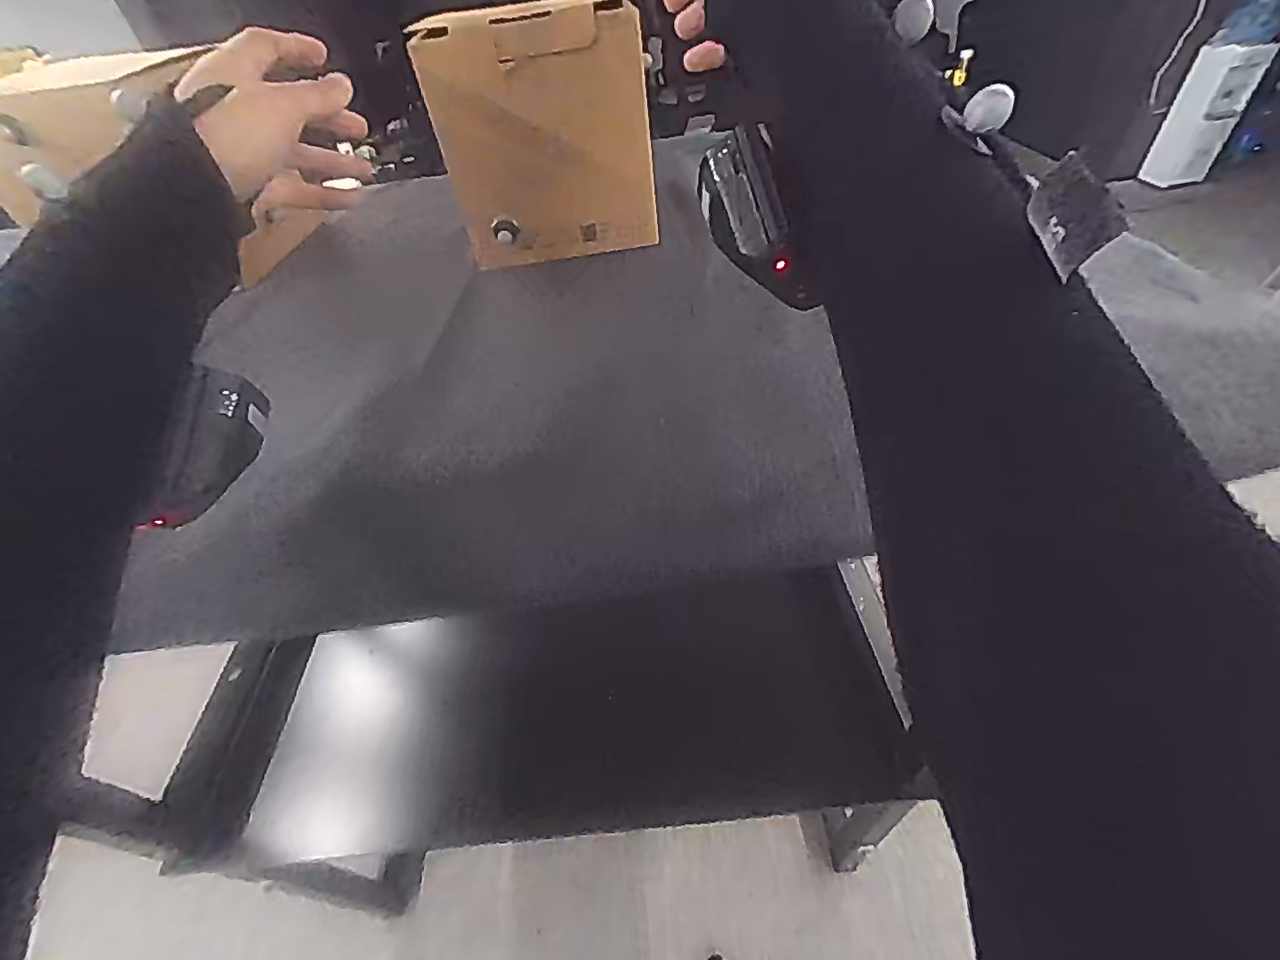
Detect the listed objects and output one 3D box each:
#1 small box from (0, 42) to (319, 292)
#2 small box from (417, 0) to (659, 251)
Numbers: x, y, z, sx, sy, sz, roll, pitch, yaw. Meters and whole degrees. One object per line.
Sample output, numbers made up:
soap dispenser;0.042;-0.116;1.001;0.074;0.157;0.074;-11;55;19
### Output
small box;-0.453;-0.301;0.525;0.168;0.176;0.179;-3;45;5
small box;-0.077;-0.323;0.494;0.168;0.176;0.179;-8;44;0
